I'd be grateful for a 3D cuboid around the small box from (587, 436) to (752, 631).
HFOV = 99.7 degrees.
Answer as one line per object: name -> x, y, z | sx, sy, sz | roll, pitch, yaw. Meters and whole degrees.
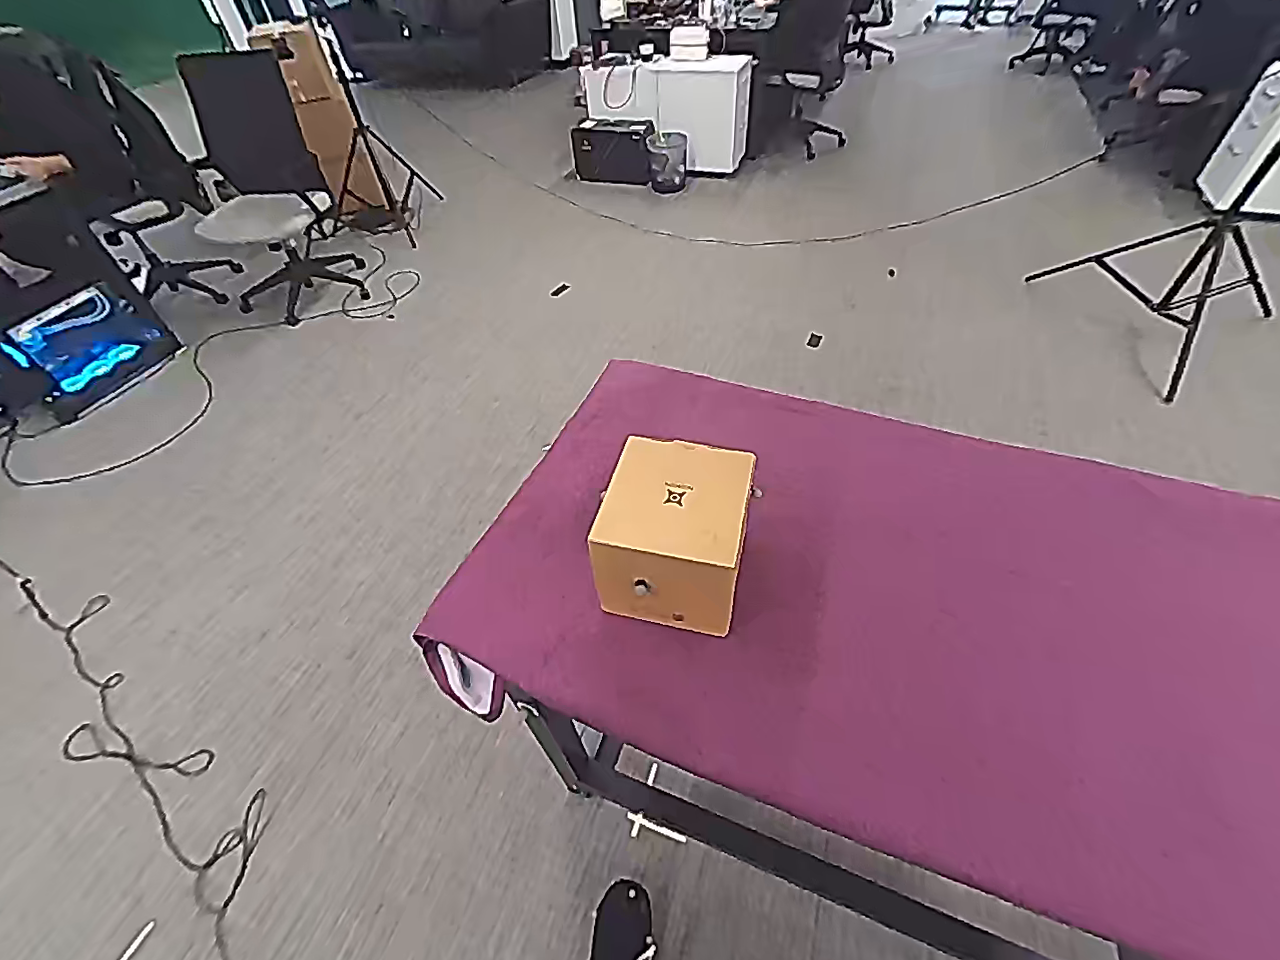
small box -> 0.046, 0.070, 0.696 | 0.168, 0.176, 0.179 | 9, 48, 12
